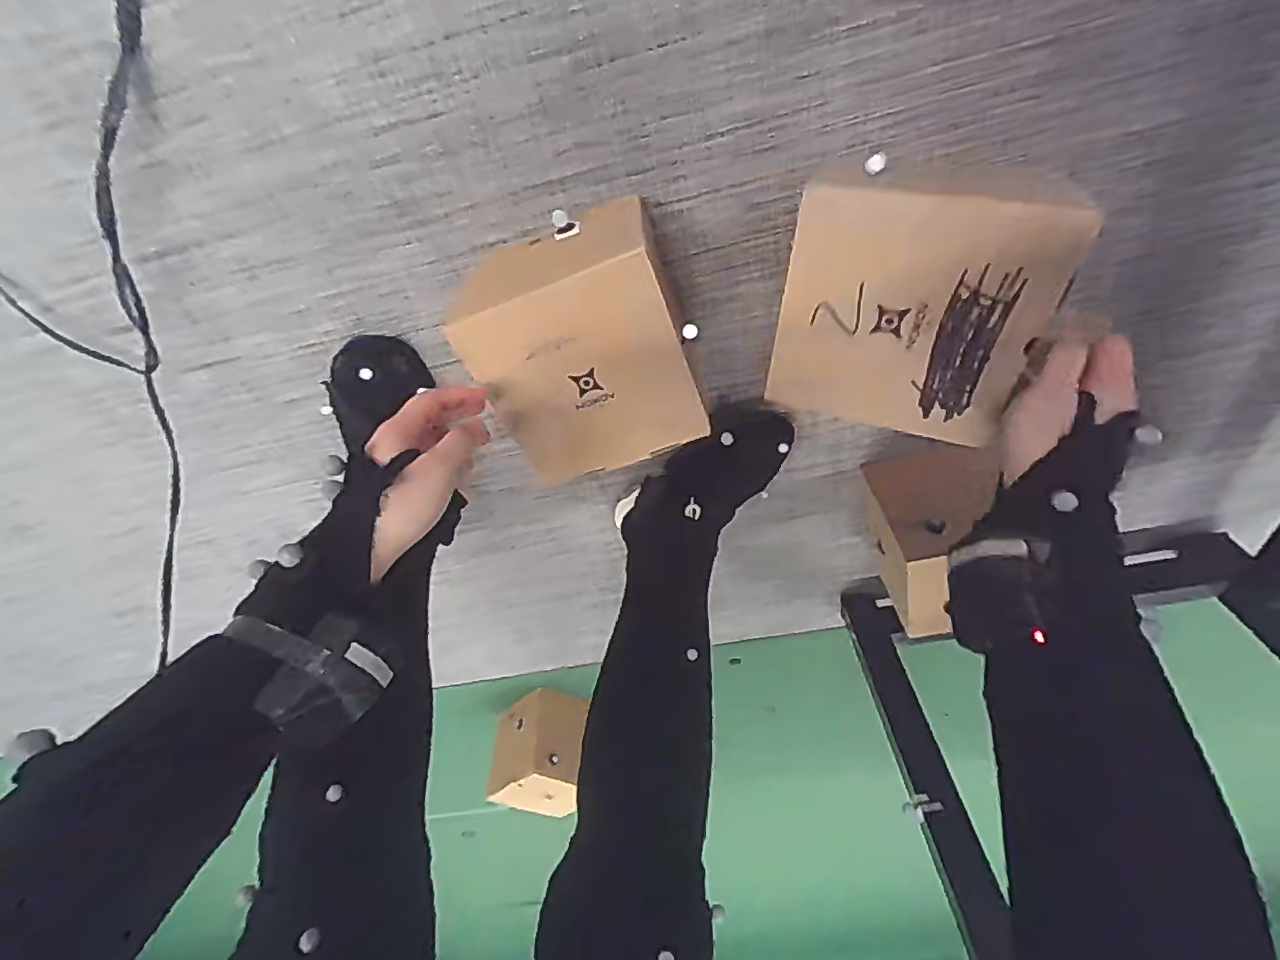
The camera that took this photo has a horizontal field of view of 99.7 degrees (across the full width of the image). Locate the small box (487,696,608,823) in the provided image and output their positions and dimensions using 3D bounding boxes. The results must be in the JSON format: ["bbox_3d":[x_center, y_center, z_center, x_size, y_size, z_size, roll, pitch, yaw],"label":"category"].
[{"bbox_3d":[-0.177,0.561,1.089,0.179,0.176,0.168,33,122,-25],"label":"small box"}]

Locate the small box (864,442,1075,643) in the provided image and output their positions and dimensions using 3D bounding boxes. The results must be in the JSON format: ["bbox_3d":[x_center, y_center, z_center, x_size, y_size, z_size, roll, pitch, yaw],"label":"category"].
[{"bbox_3d":[0.400,0.078,0.693,0.179,0.176,0.168,-16,130,11],"label":"small box"}]
